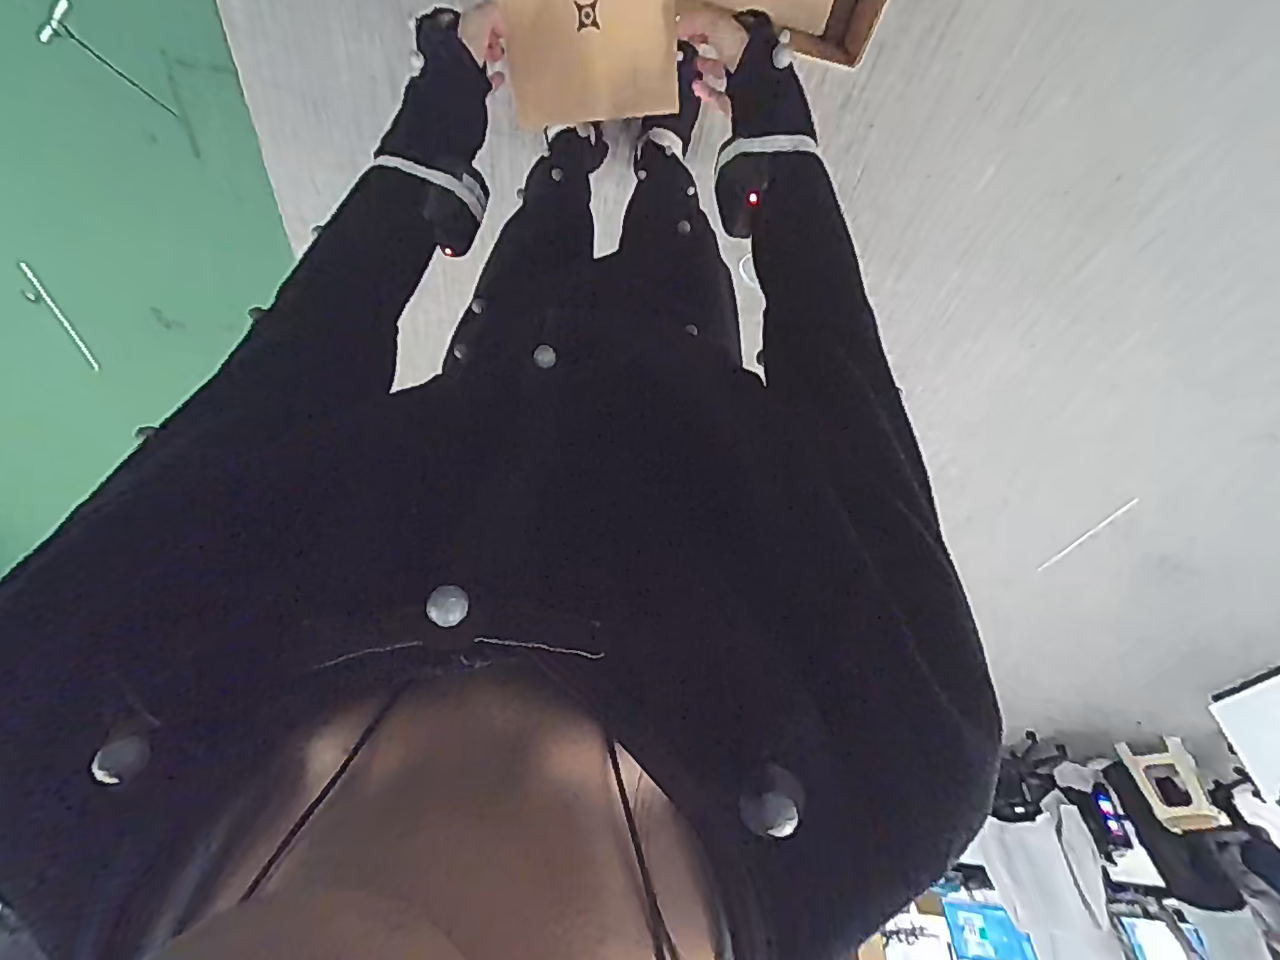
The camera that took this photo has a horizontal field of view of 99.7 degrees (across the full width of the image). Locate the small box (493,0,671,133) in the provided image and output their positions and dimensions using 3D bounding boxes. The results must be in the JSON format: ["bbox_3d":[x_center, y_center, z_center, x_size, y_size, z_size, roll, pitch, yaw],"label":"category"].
[{"bbox_3d":[-0.052,-0.478,0.566,0.168,0.176,0.179,-3,125,3],"label":"small box"}]
